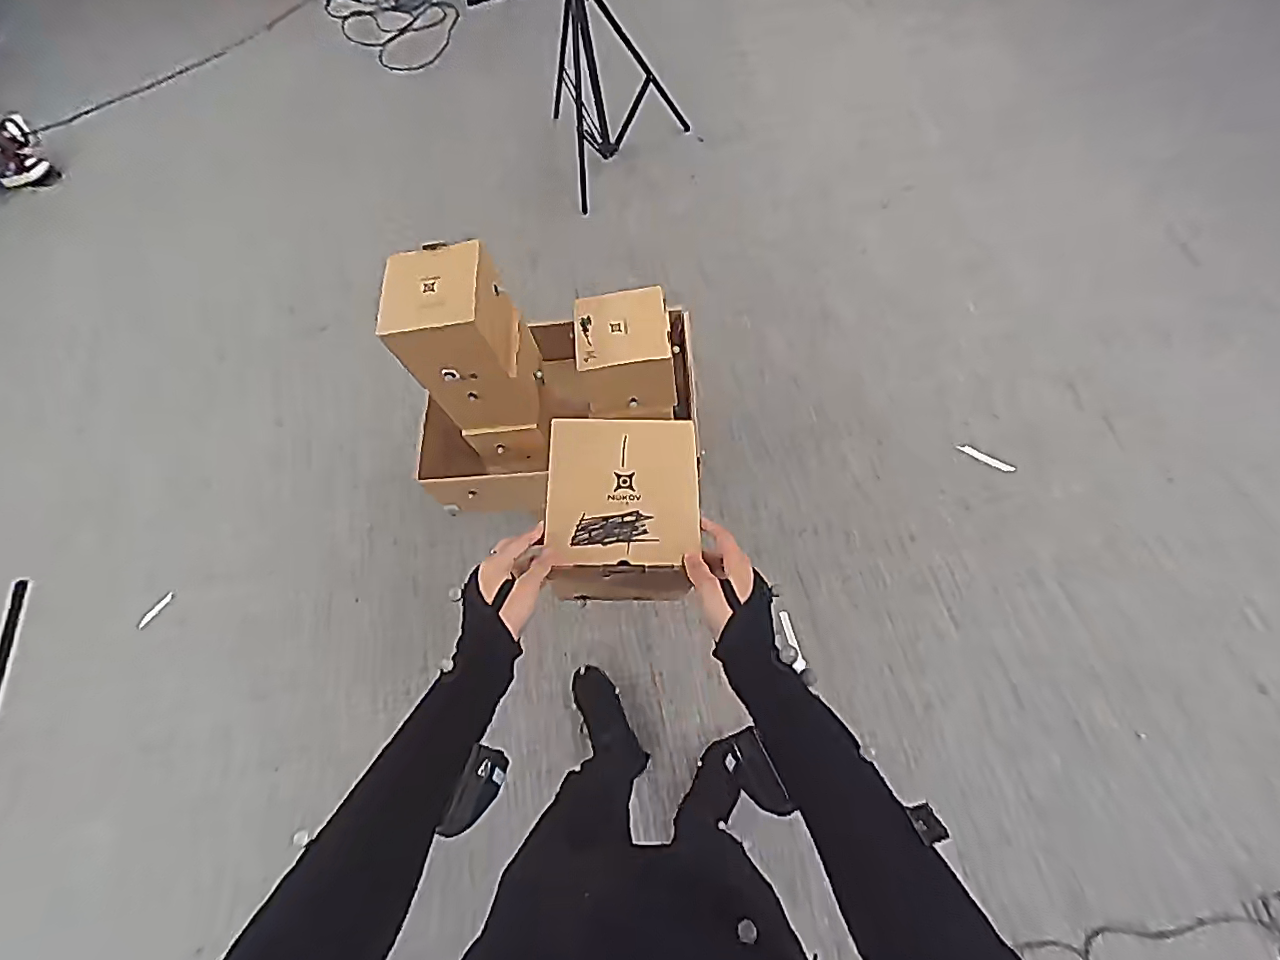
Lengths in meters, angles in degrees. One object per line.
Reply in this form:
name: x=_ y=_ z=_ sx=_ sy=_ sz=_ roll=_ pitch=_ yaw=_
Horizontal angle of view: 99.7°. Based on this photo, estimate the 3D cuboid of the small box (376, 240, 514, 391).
small box: x=-0.327 y=-0.281 z=0.946 sx=0.168 sy=0.176 sz=0.179 roll=-7 pitch=66 yaw=5

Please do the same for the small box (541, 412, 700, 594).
small box: x=-0.021 y=0.036 z=0.650 sx=0.168 sy=0.176 sz=0.179 roll=1 pitch=65 yaw=-2

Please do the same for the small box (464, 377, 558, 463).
small box: x=-0.288 y=-0.147 z=1.243 sx=0.168 sy=0.176 sz=0.179 roll=-6 pitch=66 yaw=4

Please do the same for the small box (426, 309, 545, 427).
small box: x=-0.303 y=-0.219 z=1.095 sx=0.179 sy=0.176 sz=0.168 roll=-4 pitch=67 yaw=5

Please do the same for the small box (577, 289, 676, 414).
small box: x=-0.022 y=-0.245 z=1.065 sx=0.179 sy=0.176 sz=0.168 roll=-6 pitch=66 yaw=4
